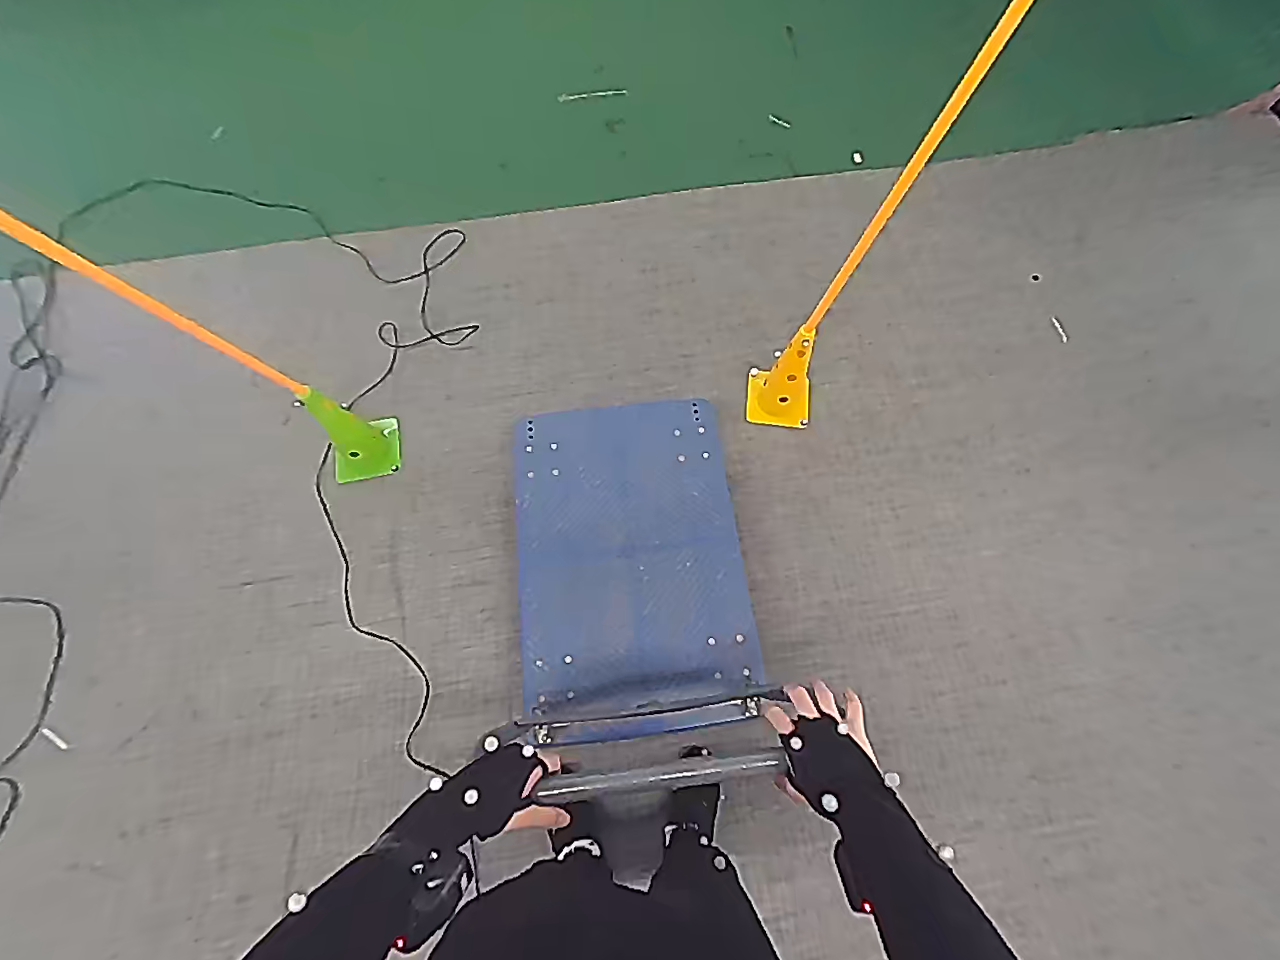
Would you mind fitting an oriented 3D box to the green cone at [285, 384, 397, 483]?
[{"bbox_3d":[-0.876,-0.164,1.542,0.202,0.368,0.200,-13,67,-3],"label":"green cone"}]
